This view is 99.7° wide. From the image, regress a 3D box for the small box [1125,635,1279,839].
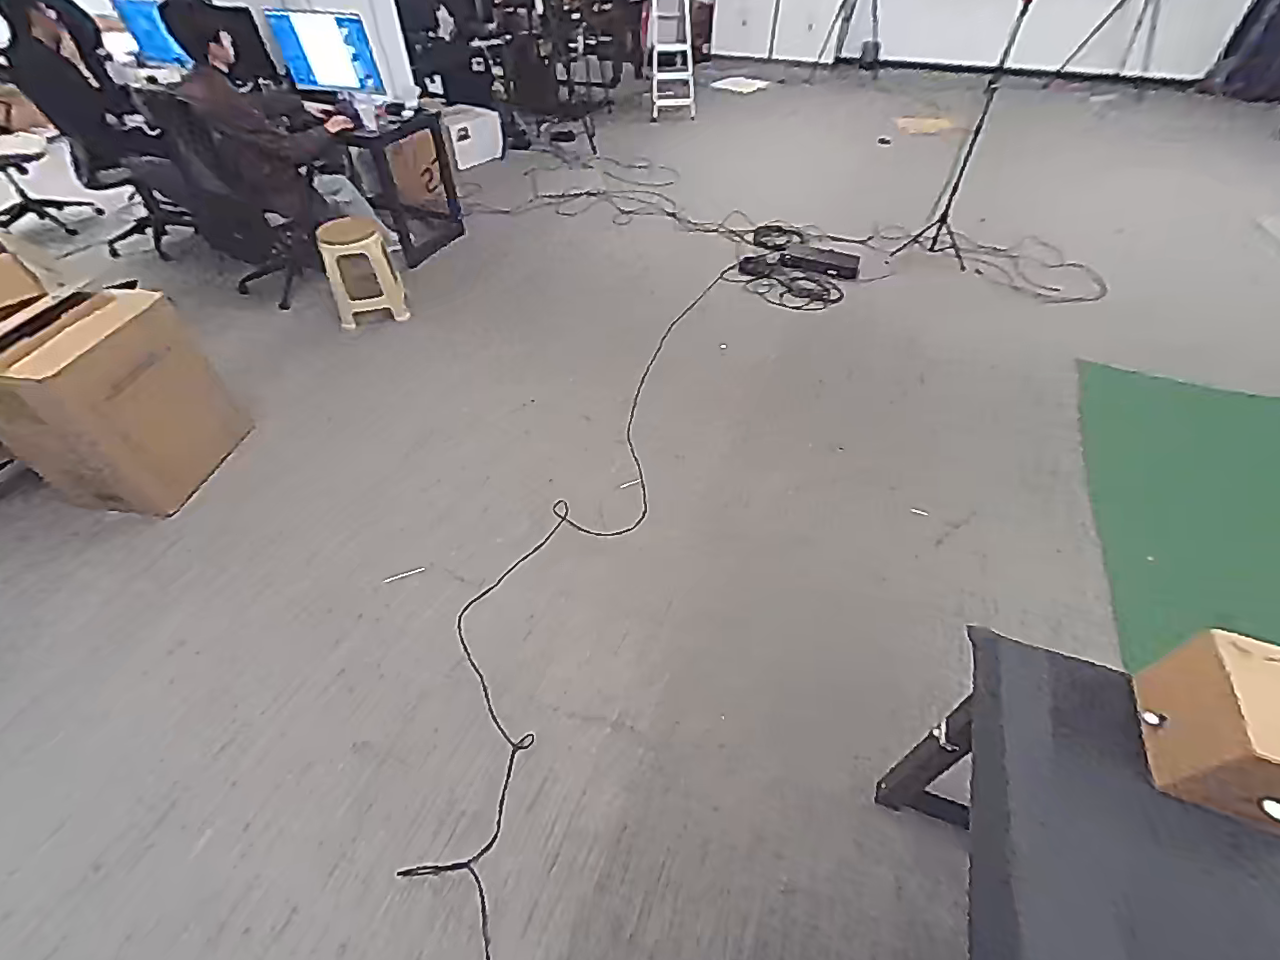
[{"bbox_3d":[0.812,0.348,0.728,0.168,0.176,0.179,18,49,14],"label":"small box"}]
